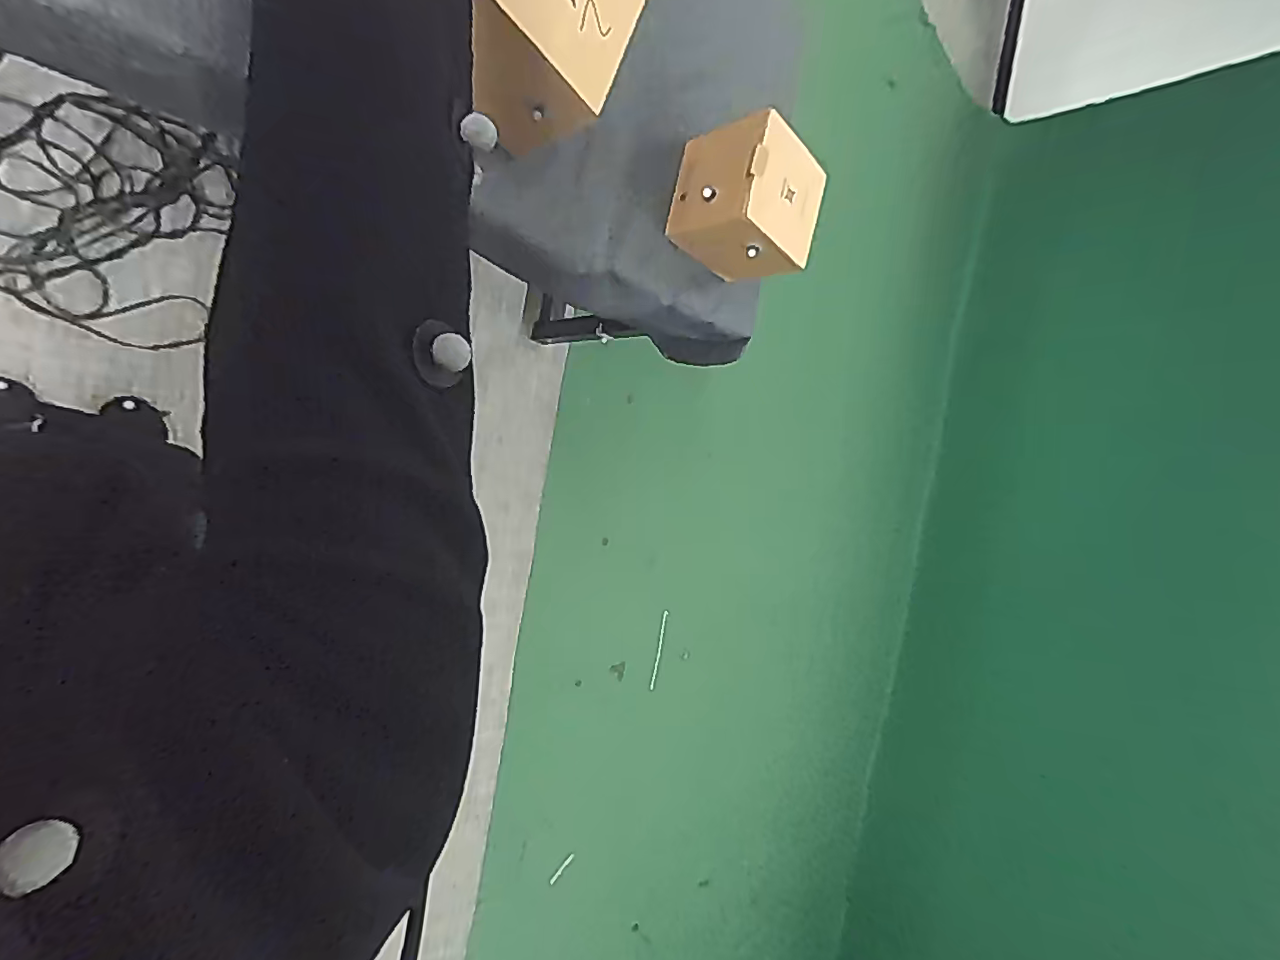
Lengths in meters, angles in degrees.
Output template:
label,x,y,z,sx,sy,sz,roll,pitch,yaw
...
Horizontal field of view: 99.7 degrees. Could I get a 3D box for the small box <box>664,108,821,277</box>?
label,x,y,z,sx,sy,sz,roll,pitch,yaw
small box,0.164,-0.451,0.886,0.179,0.176,0.168,16,88,-45
